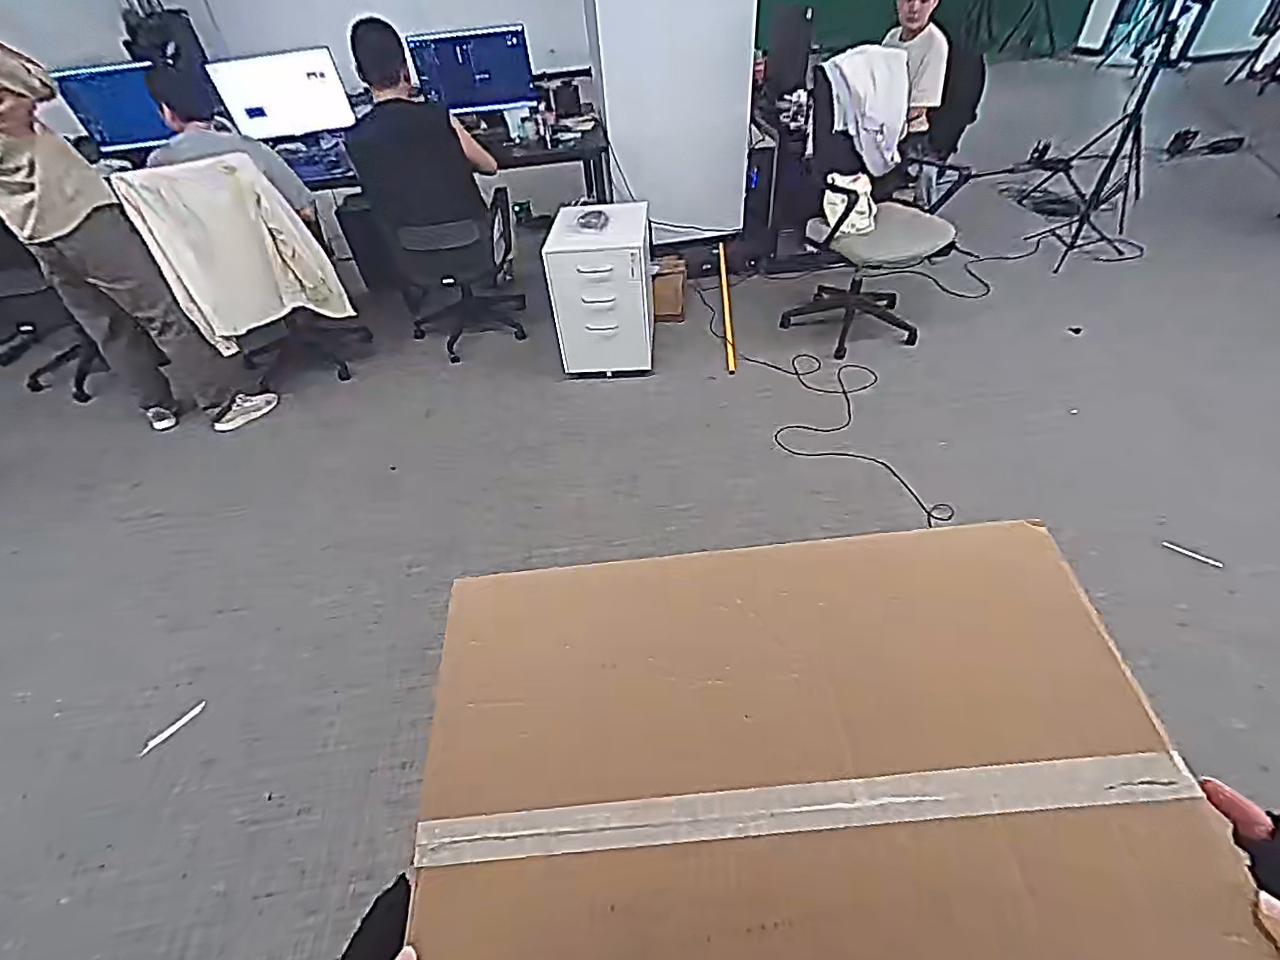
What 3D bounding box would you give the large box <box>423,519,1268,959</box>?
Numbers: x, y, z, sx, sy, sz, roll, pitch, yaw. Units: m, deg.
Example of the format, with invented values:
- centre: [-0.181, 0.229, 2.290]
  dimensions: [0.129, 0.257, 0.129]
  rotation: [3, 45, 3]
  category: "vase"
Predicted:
- centre: [0.095, 0.261, 0.420]
  dimensions: [0.408, 0.320, 0.320]
  rotation: [-7, 55, 2]
  category: "large box"
